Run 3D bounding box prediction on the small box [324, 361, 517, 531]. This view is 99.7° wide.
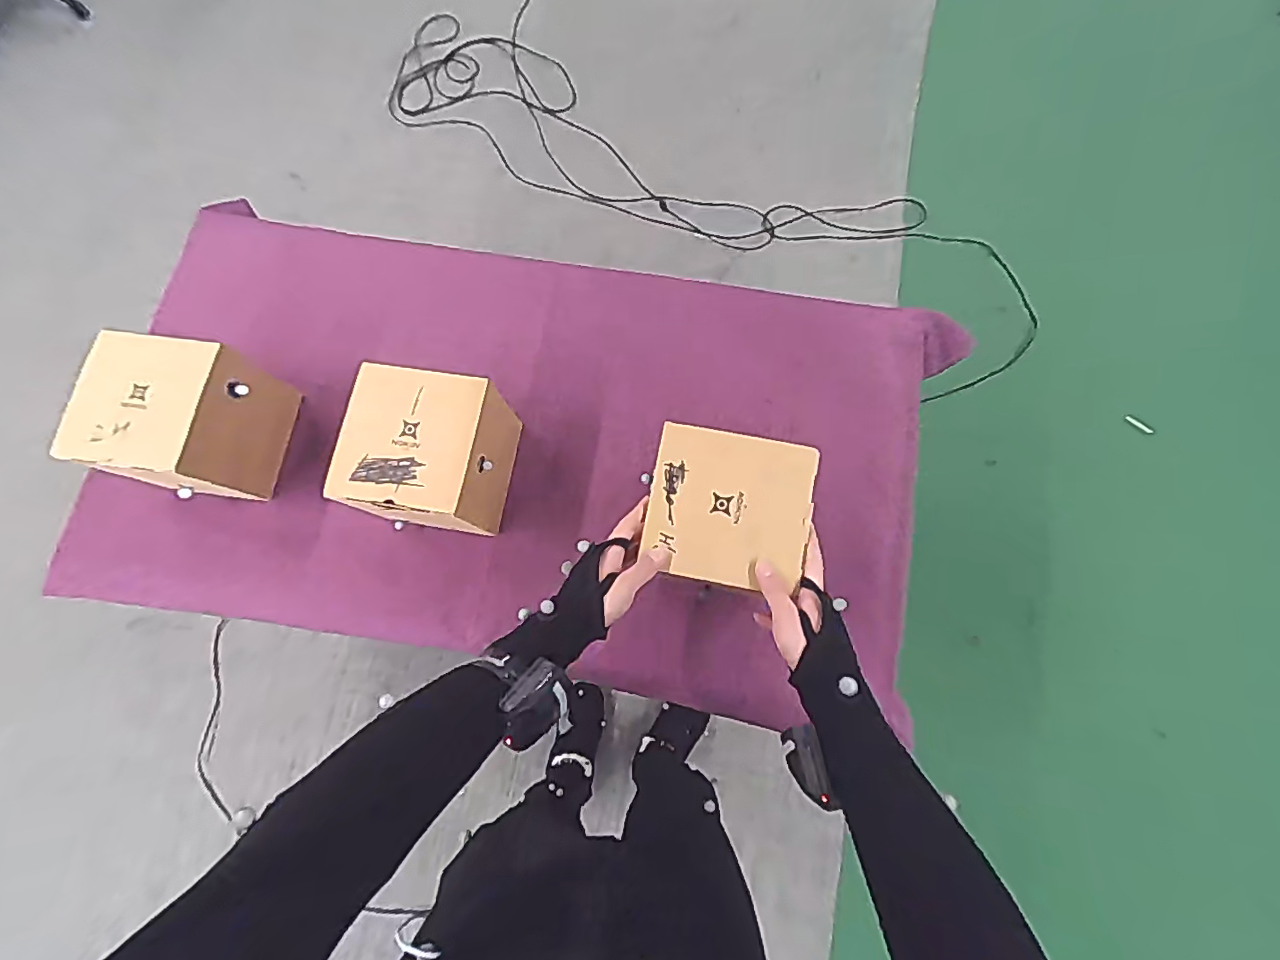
[{"bbox_3d":[-0.277,-0.036,0.727,0.168,0.176,0.179,9,76,4],"label":"small box"}]

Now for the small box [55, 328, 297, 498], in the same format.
[{"bbox_3d":[-0.620,-0.084,0.752,0.168,0.176,0.179,7,77,4],"label":"small box"}]

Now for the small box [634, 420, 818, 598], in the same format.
[{"bbox_3d":[0.096,0.043,0.660,0.179,0.176,0.168,11,78,4],"label":"small box"}]
